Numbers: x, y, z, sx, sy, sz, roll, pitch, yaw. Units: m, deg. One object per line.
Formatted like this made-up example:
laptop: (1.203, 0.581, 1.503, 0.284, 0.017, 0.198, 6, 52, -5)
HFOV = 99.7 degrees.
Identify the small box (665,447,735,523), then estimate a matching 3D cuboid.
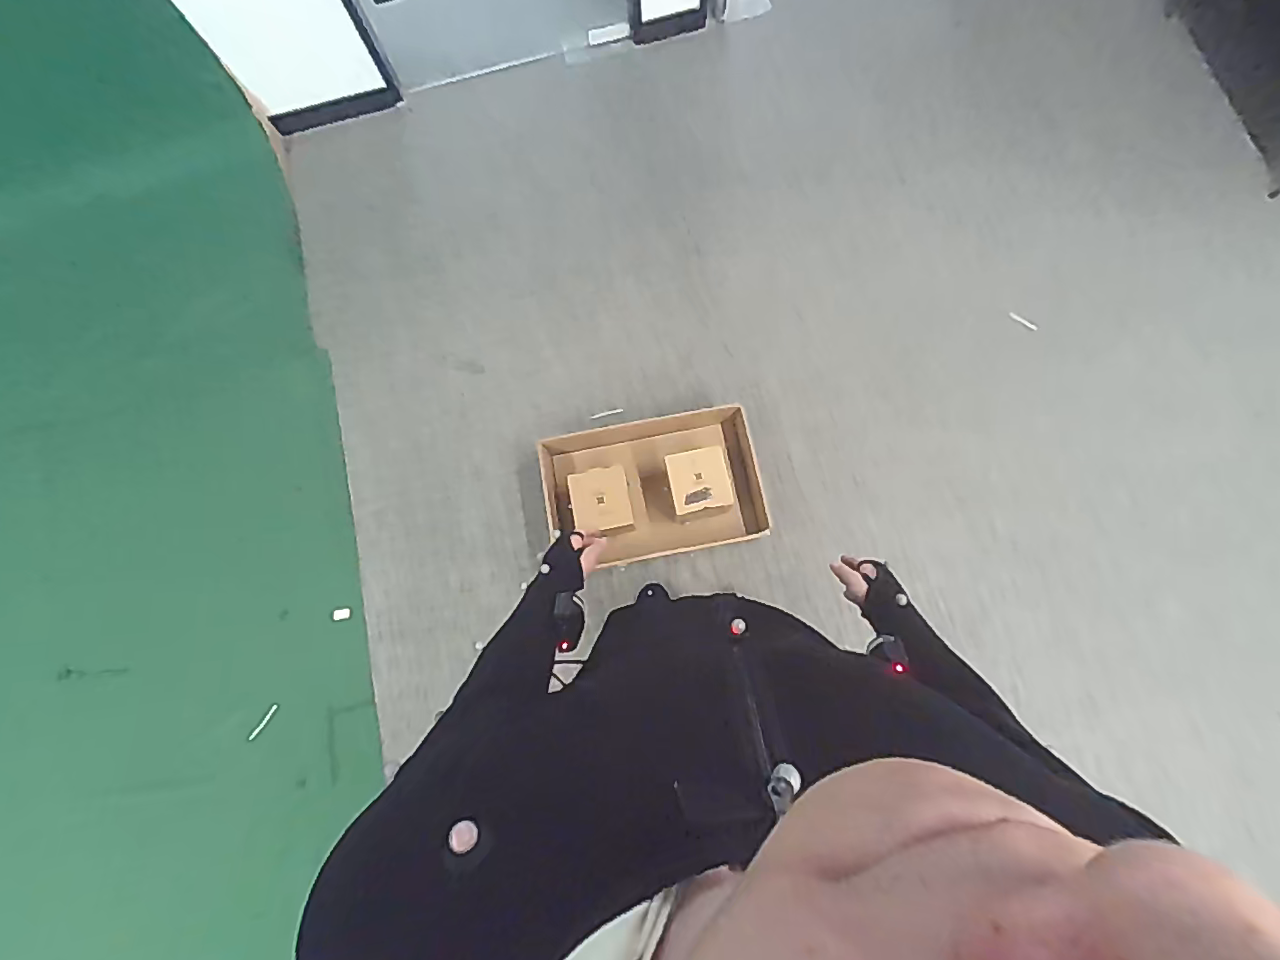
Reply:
small box: (0.171, 0.022, 1.562, 0.168, 0.176, 0.179, -11, 76, 0)
